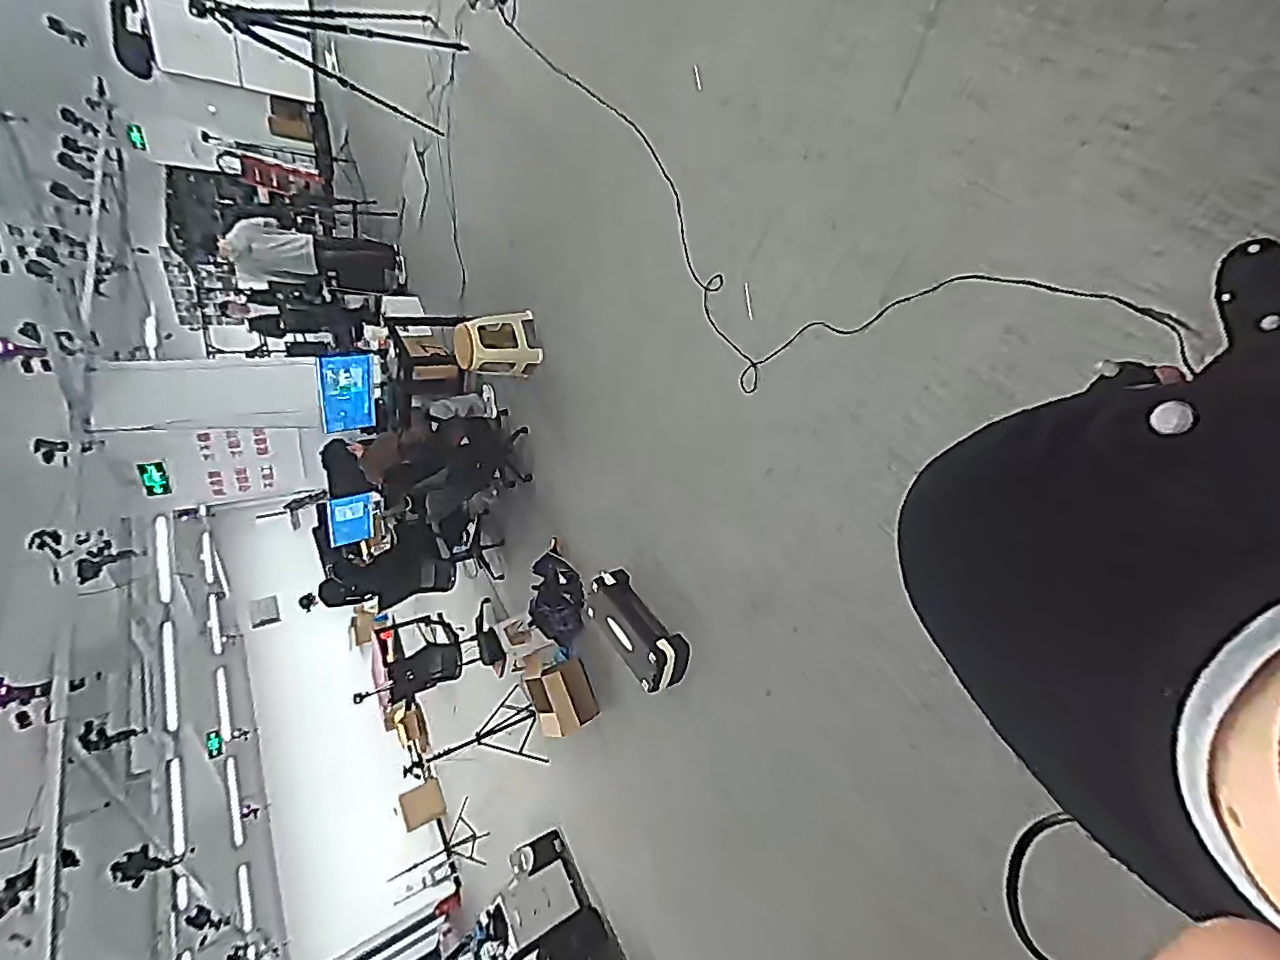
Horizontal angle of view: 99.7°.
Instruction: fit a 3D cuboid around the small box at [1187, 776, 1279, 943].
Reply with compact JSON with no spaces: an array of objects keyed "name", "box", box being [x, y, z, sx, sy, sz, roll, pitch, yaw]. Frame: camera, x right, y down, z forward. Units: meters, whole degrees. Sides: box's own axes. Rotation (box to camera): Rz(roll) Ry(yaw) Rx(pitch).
[{"name":"small box","box":[1.035,0.601,0.846,0.179,0.176,0.168,44,136,38]}]
